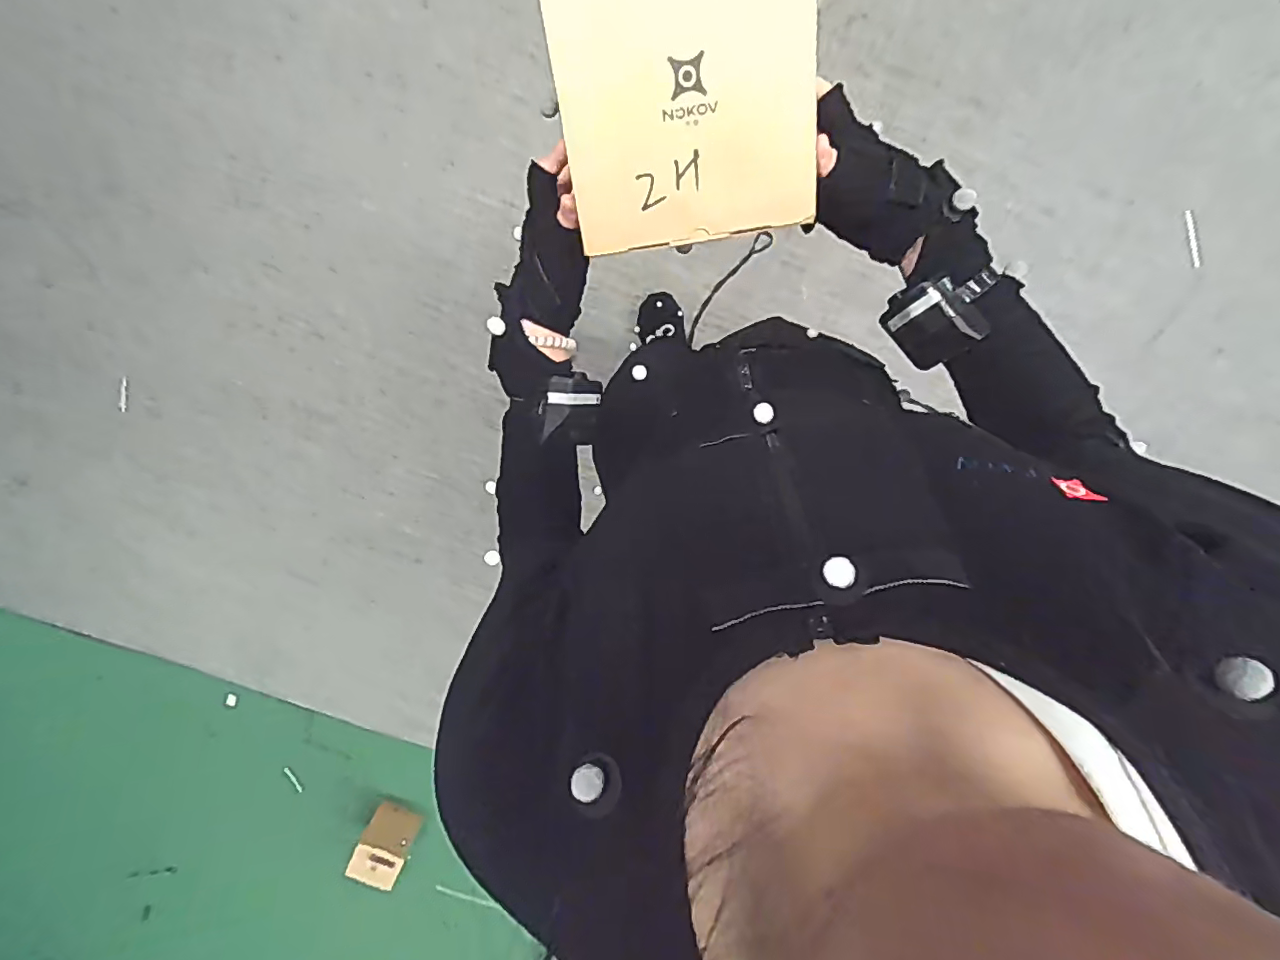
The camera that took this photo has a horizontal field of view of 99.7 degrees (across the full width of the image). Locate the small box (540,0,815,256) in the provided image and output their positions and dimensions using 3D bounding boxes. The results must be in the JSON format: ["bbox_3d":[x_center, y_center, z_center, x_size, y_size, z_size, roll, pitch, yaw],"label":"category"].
[{"bbox_3d":[0.024,-0.277,0.410,0.168,0.176,0.179,-8,117,2],"label":"small box"}]
